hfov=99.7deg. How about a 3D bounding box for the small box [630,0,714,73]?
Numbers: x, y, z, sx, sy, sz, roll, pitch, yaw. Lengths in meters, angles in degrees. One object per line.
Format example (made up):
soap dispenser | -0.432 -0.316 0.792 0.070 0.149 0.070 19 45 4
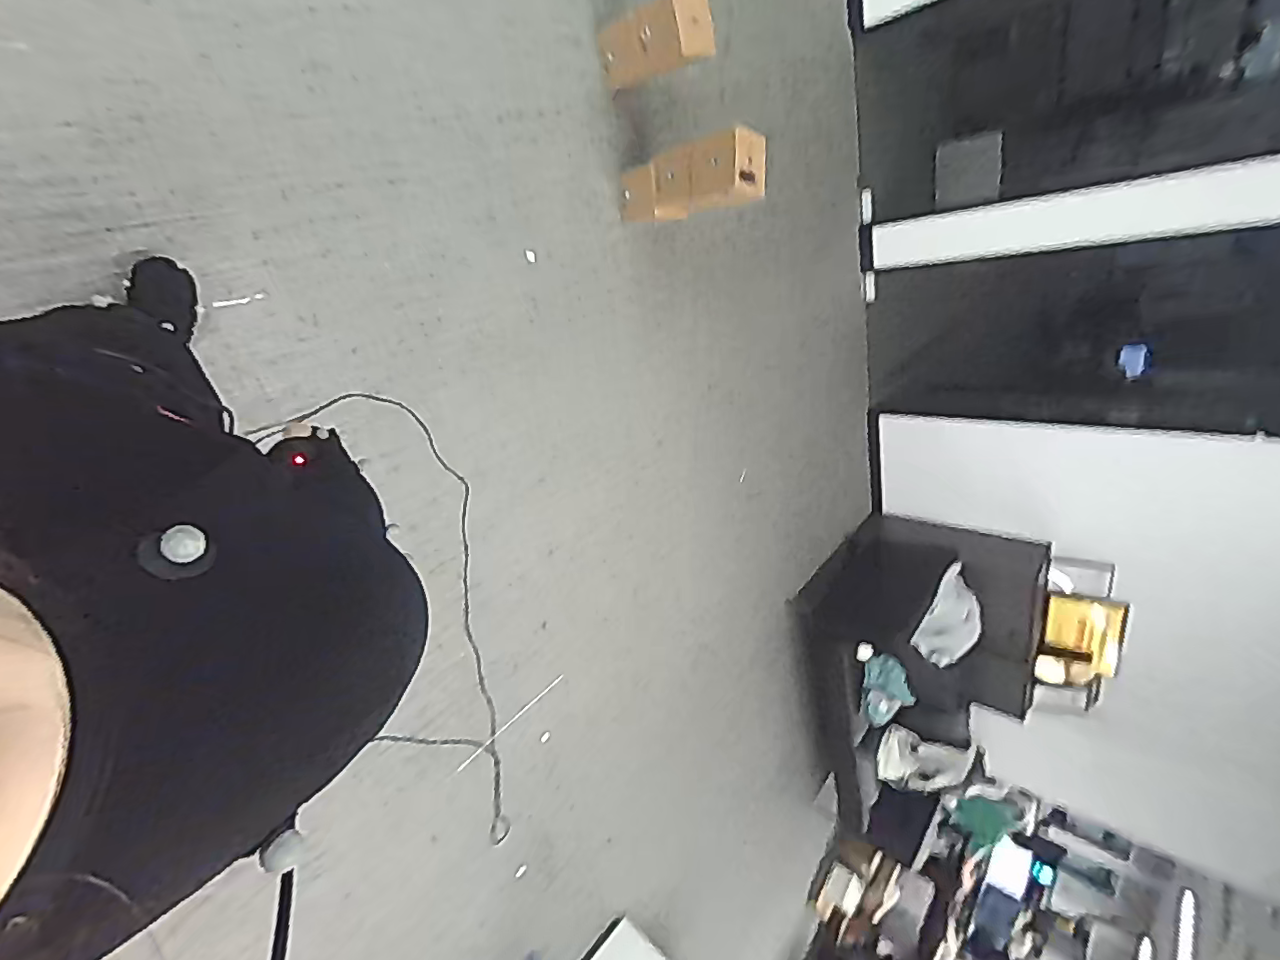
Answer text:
small box | 0.098 -1.387 1.666 0.179 0.176 0.168 -38 123 -34

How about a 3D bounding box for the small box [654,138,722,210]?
small box | 0.156 -1.015 1.812 0.179 0.176 0.168 -18 111 -43

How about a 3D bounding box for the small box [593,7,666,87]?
small box | -0.024 -1.415 1.770 0.179 0.176 0.168 -39 125 -35

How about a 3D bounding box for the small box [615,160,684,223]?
small box | 0.035 -1.019 1.923 0.179 0.176 0.168 -23 114 -41
